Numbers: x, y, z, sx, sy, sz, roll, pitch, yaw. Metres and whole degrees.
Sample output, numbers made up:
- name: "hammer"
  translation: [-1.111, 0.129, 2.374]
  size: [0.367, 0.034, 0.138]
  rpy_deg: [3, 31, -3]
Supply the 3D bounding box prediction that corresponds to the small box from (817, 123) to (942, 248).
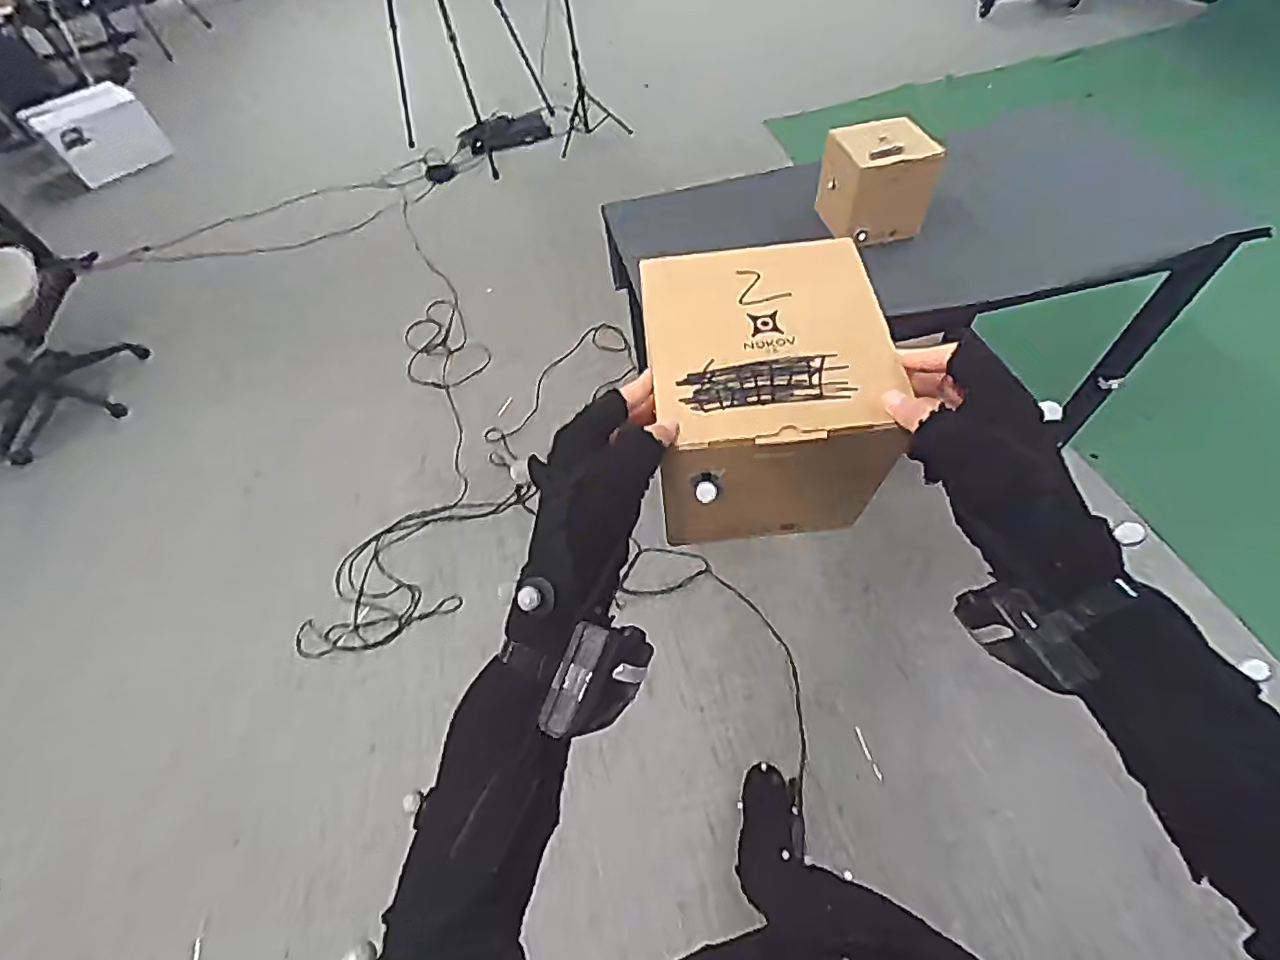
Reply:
- name: "small box"
  translation: [0.487, -0.605, 1.128]
  size: [0.168, 0.176, 0.179]
  rpy_deg: [-11, 53, 0]
